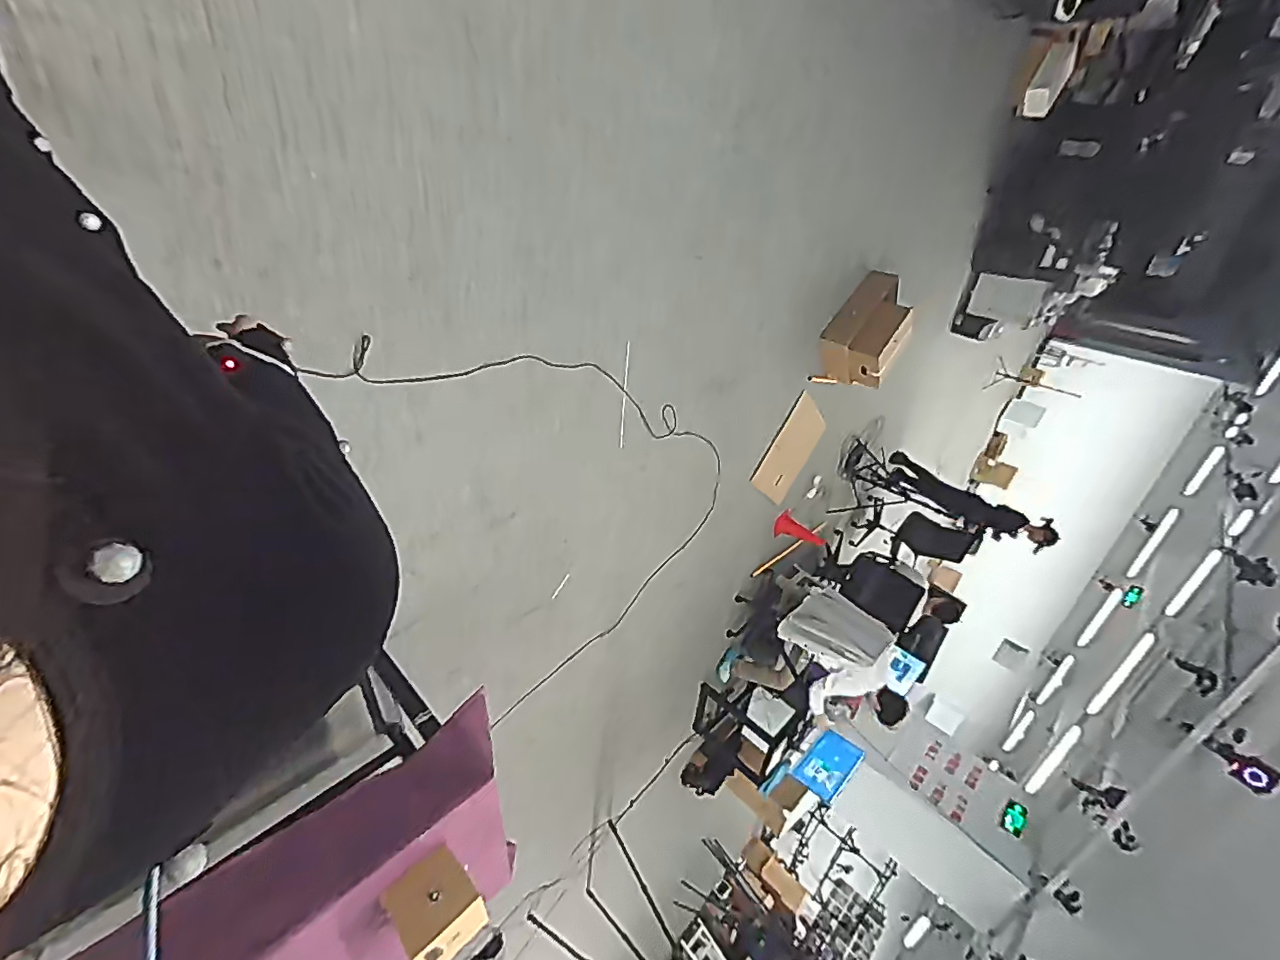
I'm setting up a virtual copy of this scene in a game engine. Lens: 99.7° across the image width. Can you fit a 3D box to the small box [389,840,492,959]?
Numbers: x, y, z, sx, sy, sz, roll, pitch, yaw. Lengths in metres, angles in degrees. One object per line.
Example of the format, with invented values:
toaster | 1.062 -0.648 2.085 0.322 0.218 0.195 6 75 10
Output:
small box | -0.488 1.040 1.318 0.179 0.176 0.168 -29 135 -37
